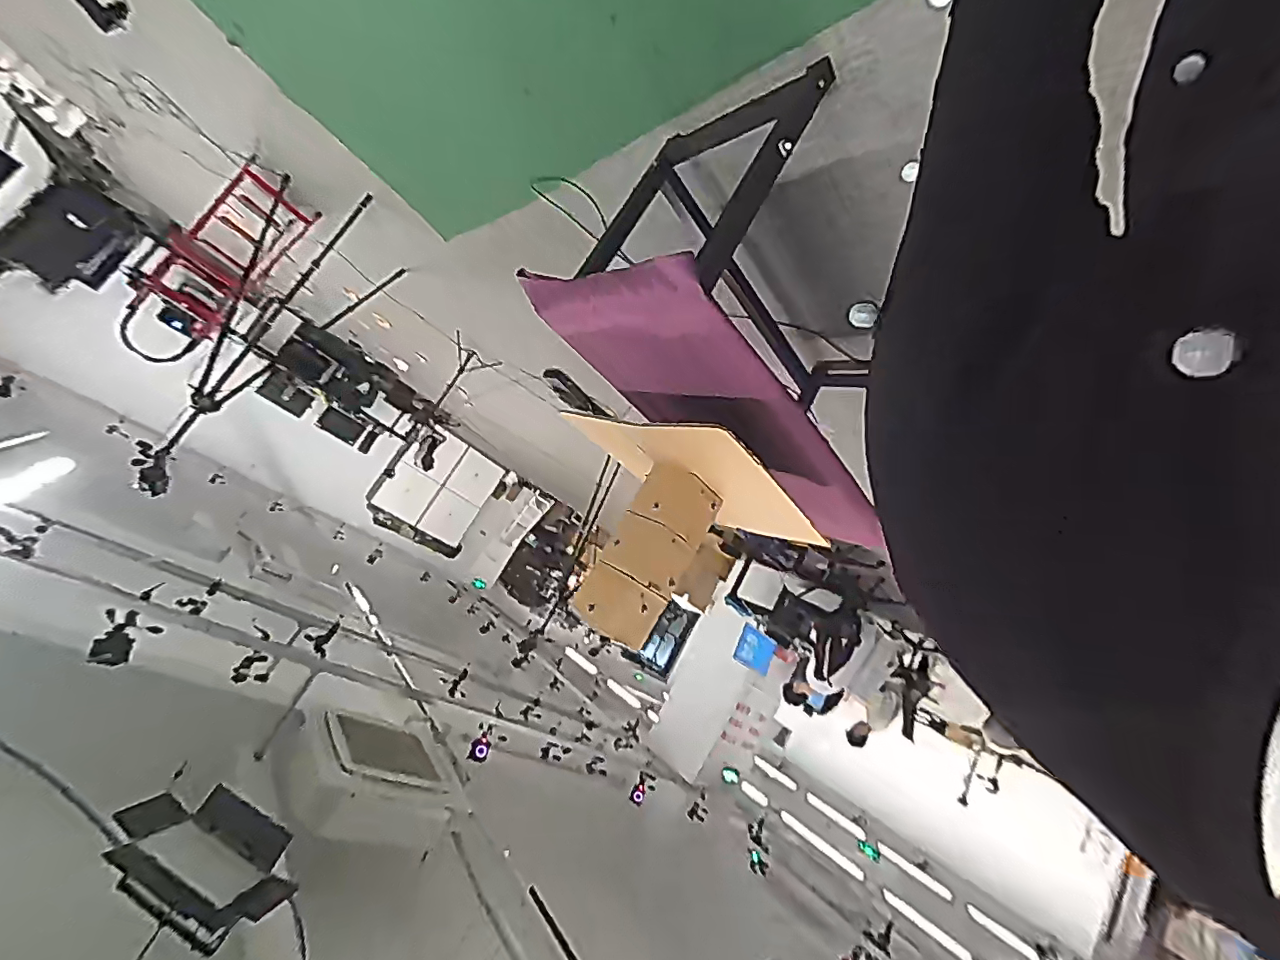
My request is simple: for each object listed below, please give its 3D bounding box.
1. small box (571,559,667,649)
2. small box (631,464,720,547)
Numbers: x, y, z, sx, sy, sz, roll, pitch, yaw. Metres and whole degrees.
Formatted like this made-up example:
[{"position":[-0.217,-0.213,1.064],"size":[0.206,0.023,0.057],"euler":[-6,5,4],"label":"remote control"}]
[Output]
[{"position":[-0.057,0.344,1.536],"size":[0.179,0.176,0.168],"euler":[17,162,50],"label":"small box"},{"position":[0.114,0.071,1.599],"size":[0.179,0.176,0.168],"euler":[19,163,49],"label":"small box"}]
